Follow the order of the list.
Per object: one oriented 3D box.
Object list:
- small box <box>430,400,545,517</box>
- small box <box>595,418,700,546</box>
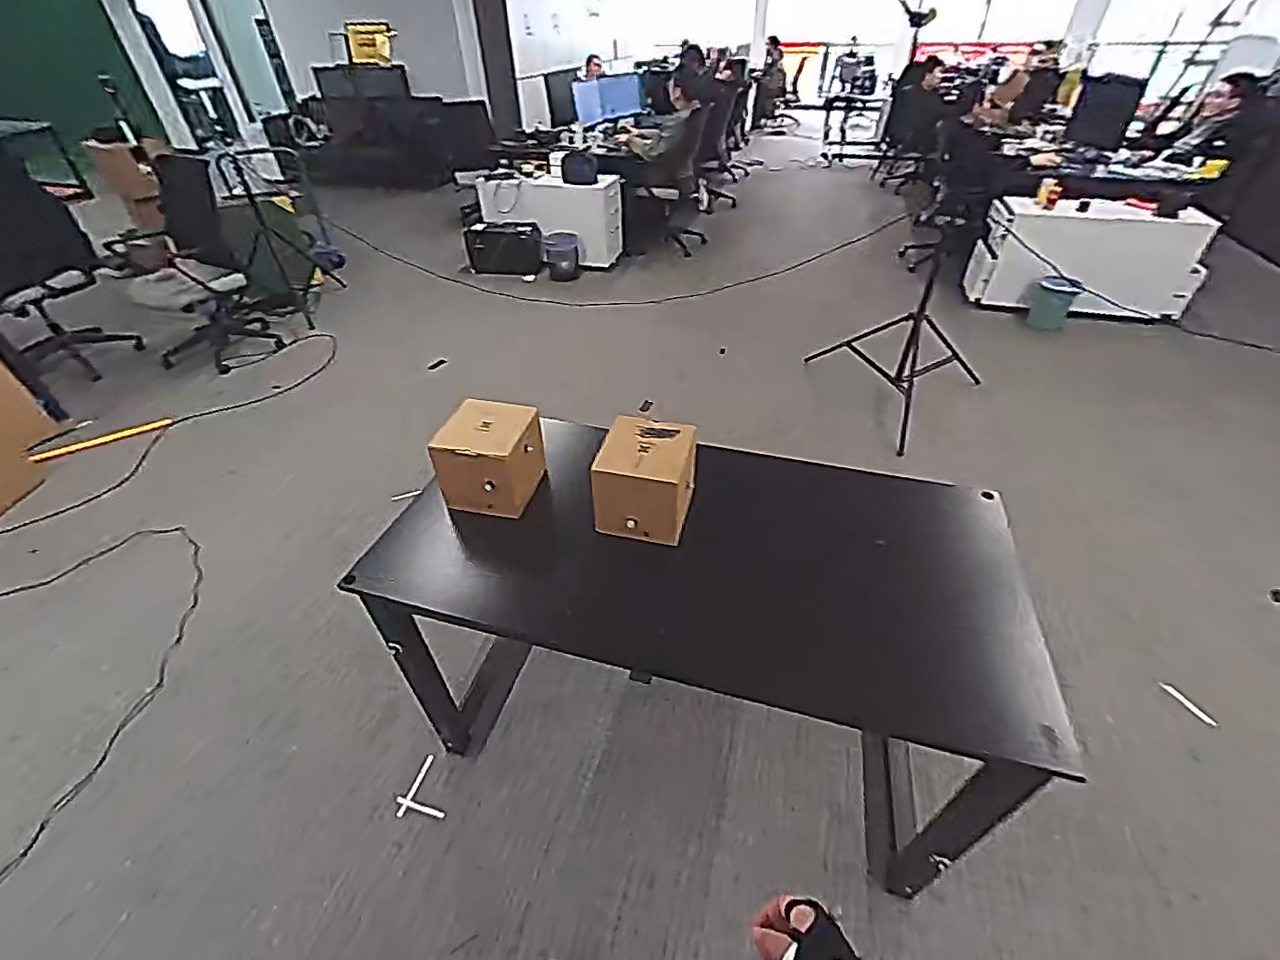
[{"bbox_3d":[-0.306,-0.044,1.133,0.168,0.176,0.179,9,41,9],"label":"small box"},{"bbox_3d":[0.018,0.002,1.072,0.168,0.176,0.179,9,42,12],"label":"small box"}]
